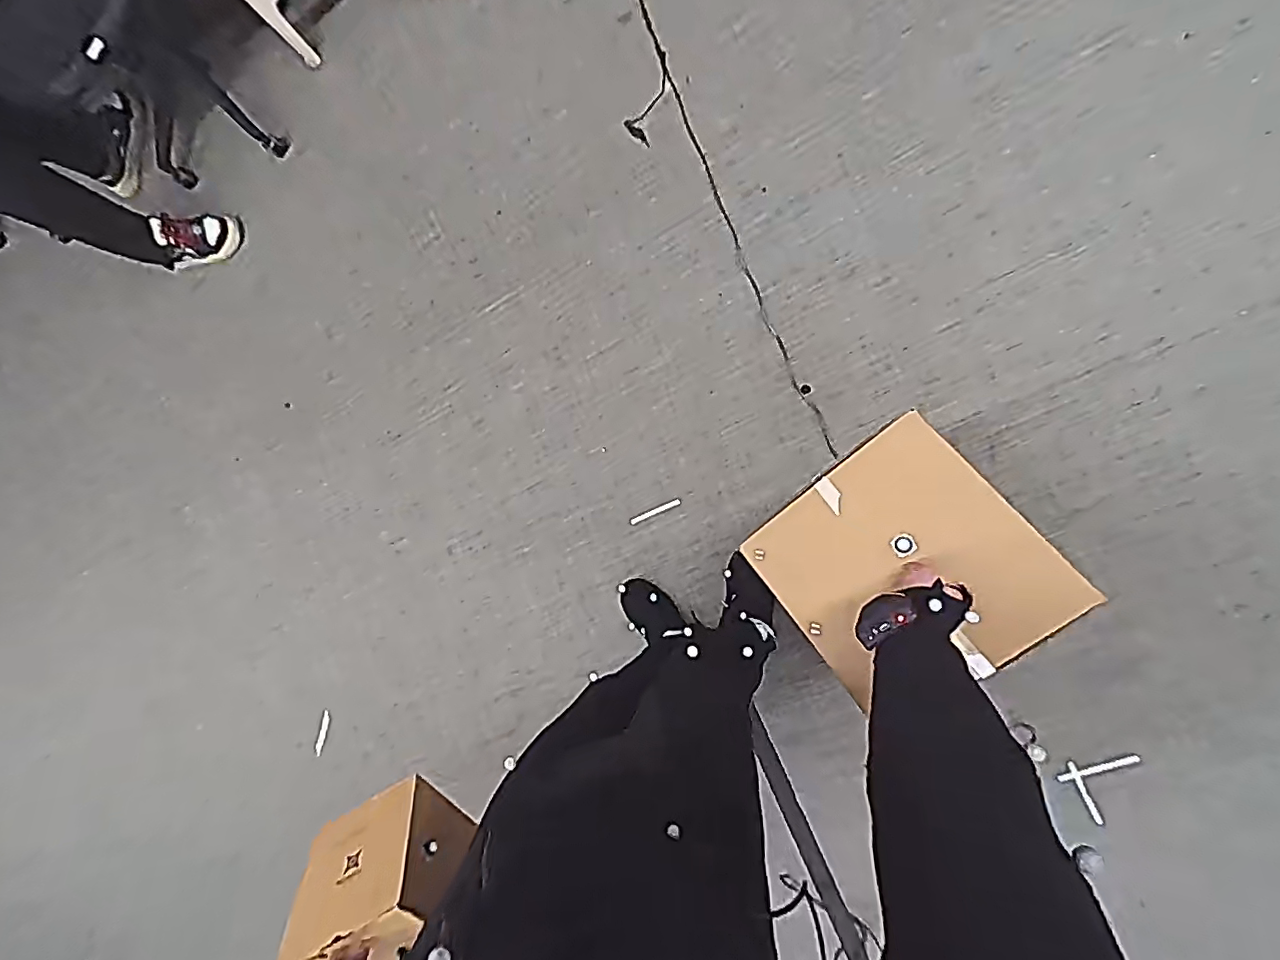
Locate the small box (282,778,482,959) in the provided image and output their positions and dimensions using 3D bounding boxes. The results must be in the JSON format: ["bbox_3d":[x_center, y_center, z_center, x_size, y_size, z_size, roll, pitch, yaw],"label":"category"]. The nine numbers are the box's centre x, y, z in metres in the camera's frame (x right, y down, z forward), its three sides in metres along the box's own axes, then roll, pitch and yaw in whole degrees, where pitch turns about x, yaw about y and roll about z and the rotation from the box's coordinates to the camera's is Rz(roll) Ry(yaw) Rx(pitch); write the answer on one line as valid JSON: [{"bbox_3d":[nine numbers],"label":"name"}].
[{"bbox_3d":[-0.329,0.558,0.730,0.168,0.179,0.176,-28,118,-1],"label":"small box"}]
